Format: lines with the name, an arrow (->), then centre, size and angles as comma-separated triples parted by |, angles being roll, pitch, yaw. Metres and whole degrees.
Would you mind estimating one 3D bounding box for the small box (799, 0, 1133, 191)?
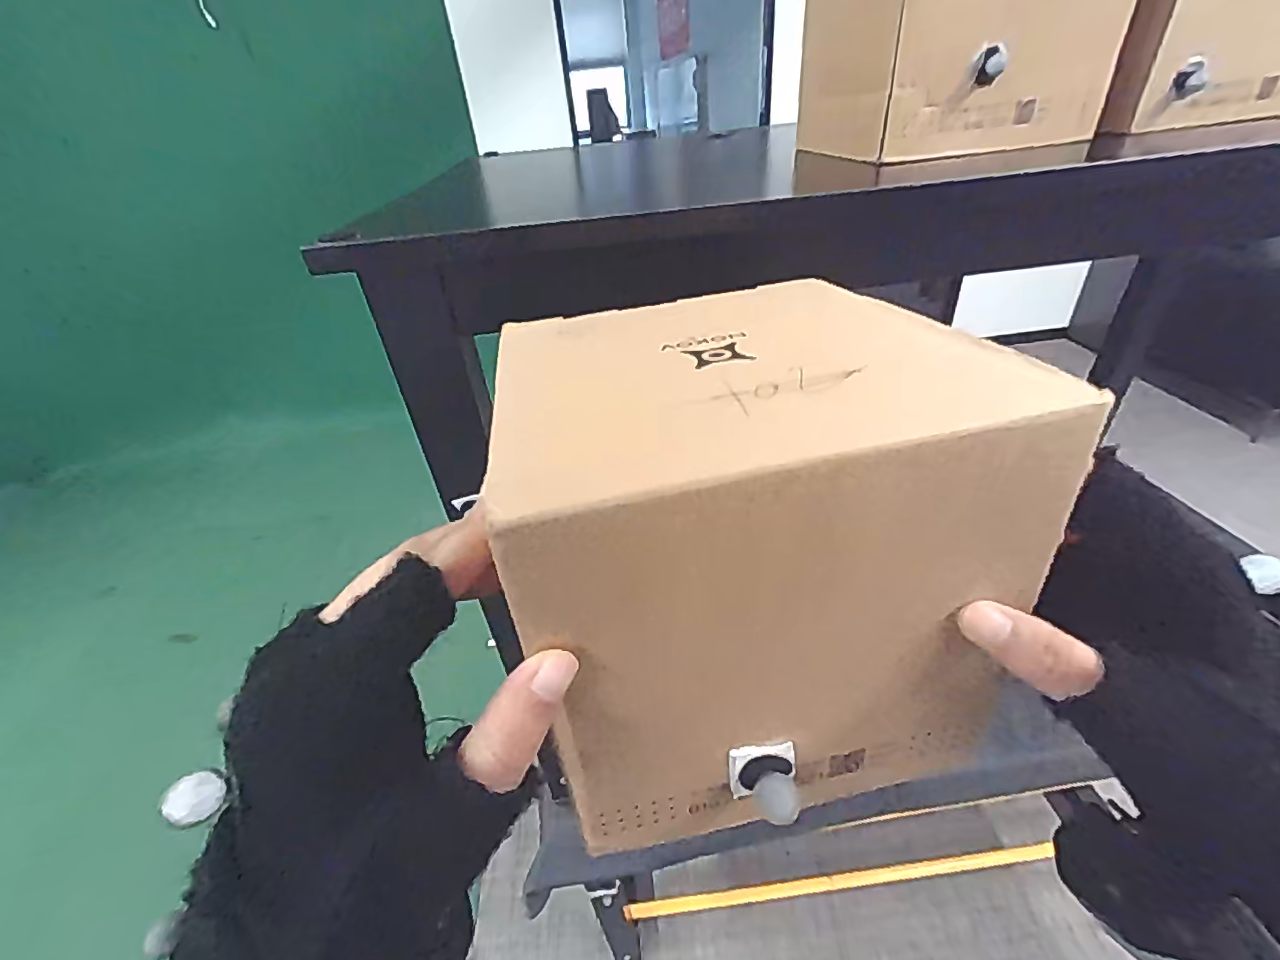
small box -> 0.239, -0.338, 0.434 | 0.168, 0.176, 0.179 | -8, 35, -3
